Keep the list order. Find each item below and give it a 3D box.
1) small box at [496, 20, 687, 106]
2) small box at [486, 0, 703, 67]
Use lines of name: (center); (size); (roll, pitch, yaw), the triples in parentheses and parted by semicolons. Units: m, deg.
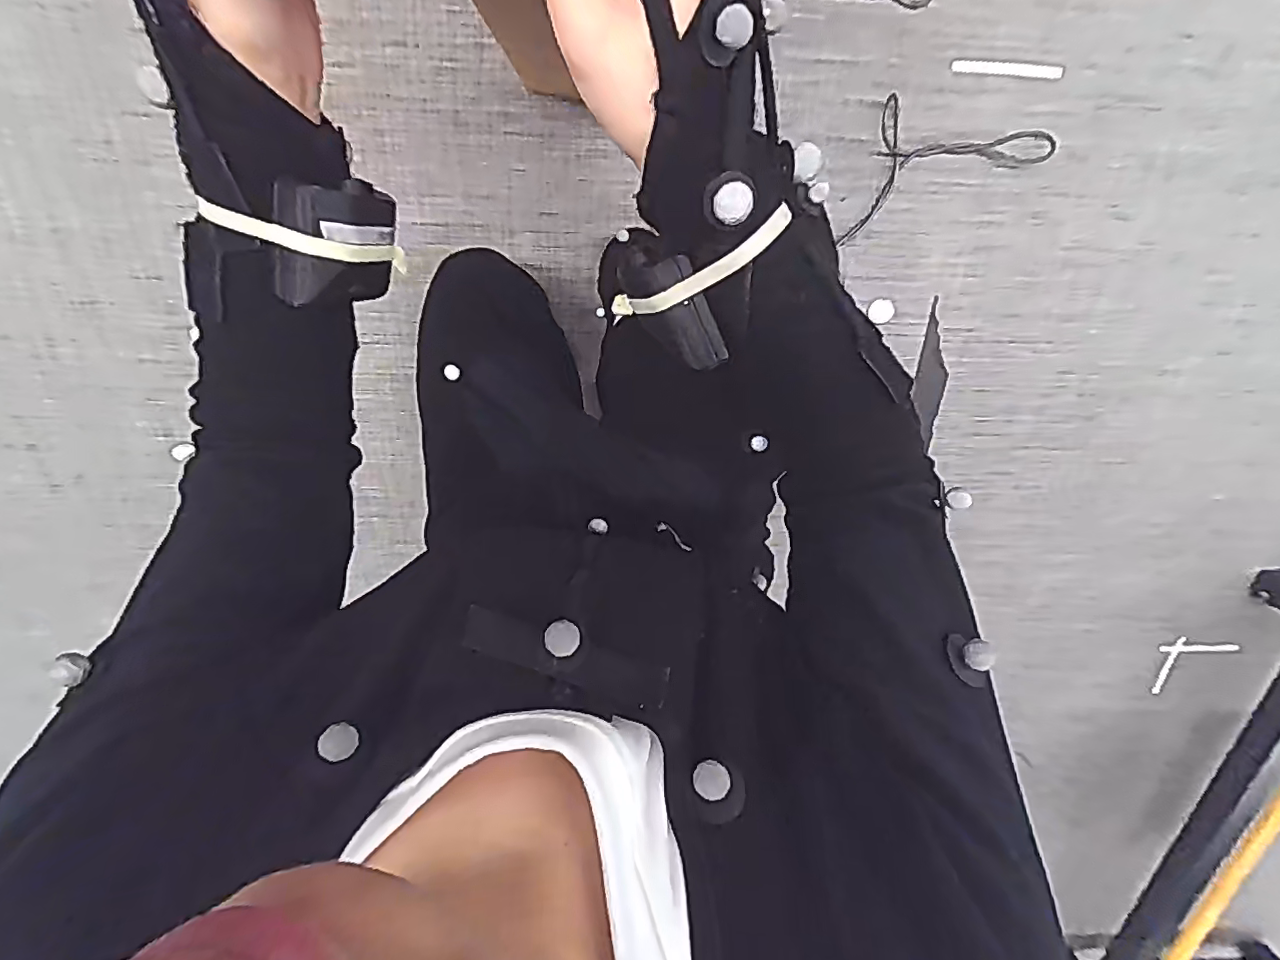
small box: (-0.037, -0.497, 0.539); (0.179, 0.176, 0.168); (6, 112, -4)
small box: (-0.029, -0.431, 0.389); (0.179, 0.176, 0.168); (7, 113, -6)
